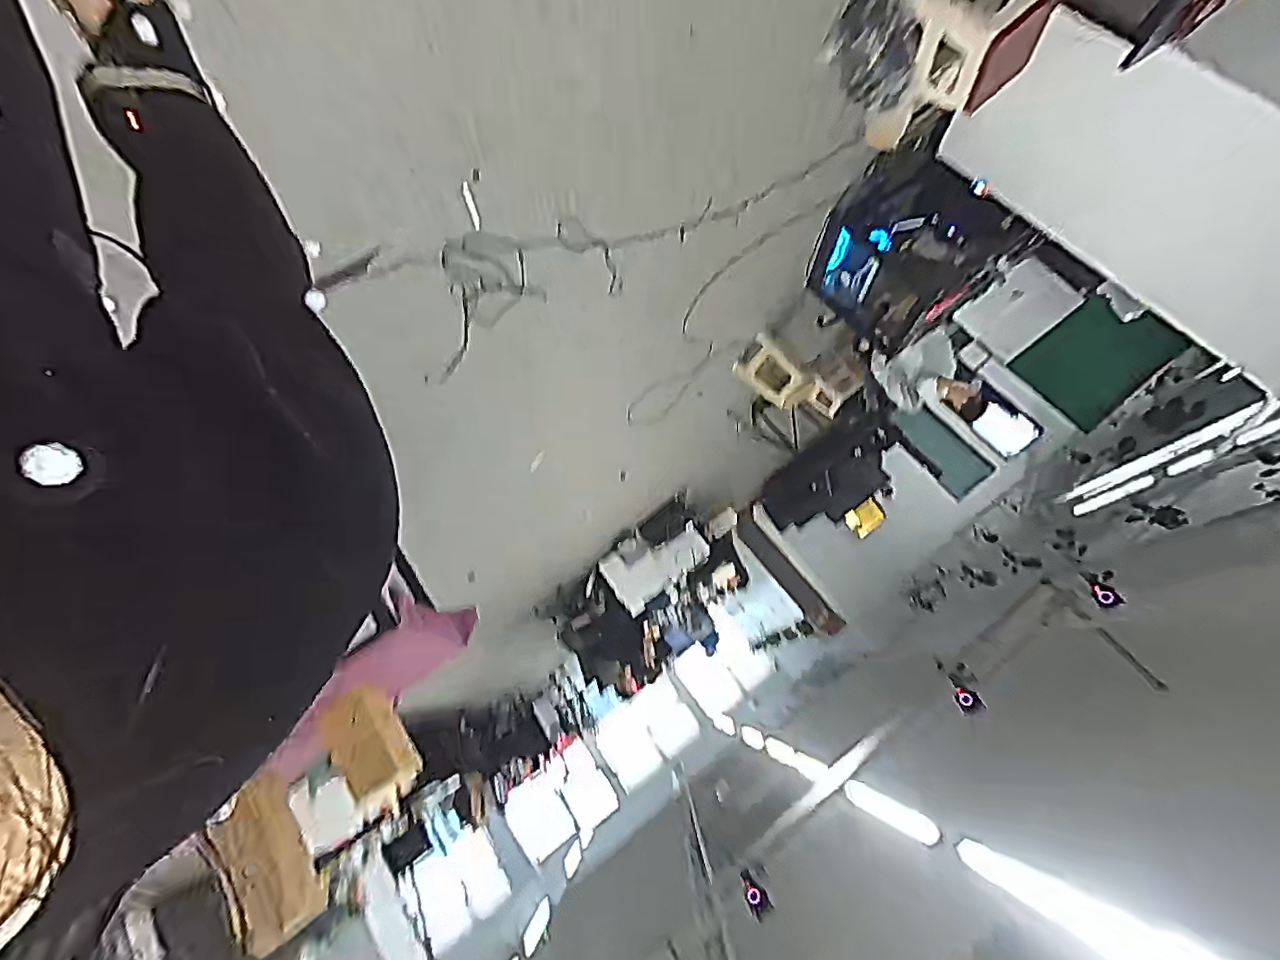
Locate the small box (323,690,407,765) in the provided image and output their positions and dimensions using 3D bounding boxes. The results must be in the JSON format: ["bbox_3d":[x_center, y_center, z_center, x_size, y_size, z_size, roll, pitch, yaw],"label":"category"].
[{"bbox_3d":[-0.952,0.847,1.869,0.168,0.176,0.179,-36,162,-11],"label":"small box"}]

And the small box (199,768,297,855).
[{"bbox_3d":[-1.274,1.063,1.755,0.179,0.176,0.168,-34,160,-13],"label":"small box"}]

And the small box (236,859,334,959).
[{"bbox_3d":[-1.083,1.307,1.644,0.179,0.176,0.168,-36,161,-13],"label":"small box"}]

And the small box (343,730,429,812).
[{"bbox_3d":[-0.854,0.970,1.823,0.168,0.176,0.179,-37,162,-9],"label":"small box"}]
